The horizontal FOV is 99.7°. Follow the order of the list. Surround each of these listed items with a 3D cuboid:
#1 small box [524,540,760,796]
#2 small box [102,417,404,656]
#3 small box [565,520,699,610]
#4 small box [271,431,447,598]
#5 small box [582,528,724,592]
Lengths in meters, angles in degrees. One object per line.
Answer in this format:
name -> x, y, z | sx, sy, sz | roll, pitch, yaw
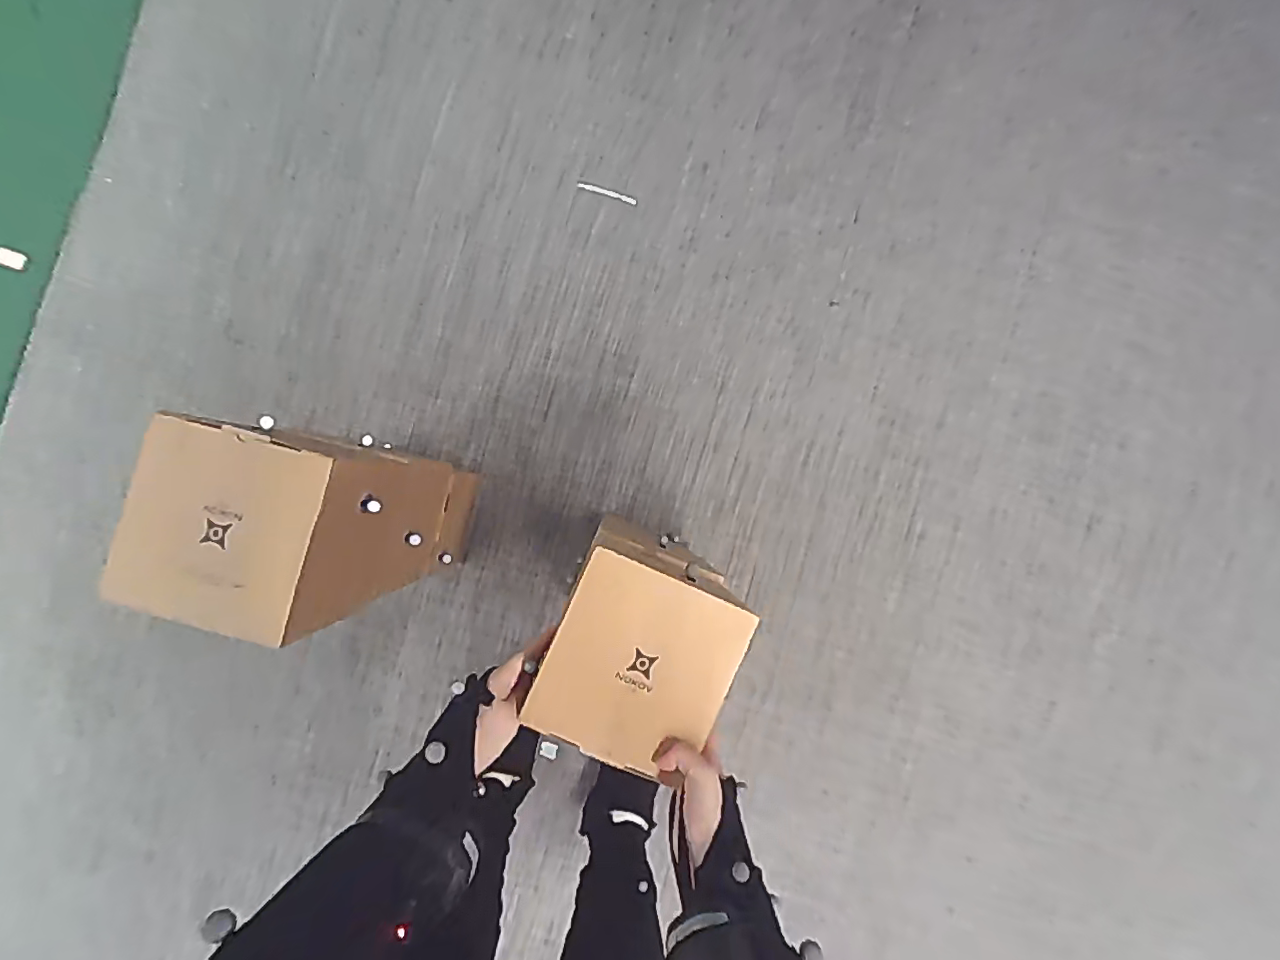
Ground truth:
small box -> -0.003, 0.175, 0.565 | 0.168, 0.176, 0.179 | 24, 89, -3
small box -> -0.364, 0.050, 0.547 | 0.168, 0.176, 0.179 | 15, 89, -1
small box -> -0.020, 0.176, 0.891 | 0.168, 0.176, 0.179 | 23, 89, -3
small box -> -0.372, 0.046, 0.709 | 0.168, 0.176, 0.179 | 14, 89, -2
small box -> -0.008, 0.173, 0.727 | 0.168, 0.176, 0.179 | 21, 89, -2
